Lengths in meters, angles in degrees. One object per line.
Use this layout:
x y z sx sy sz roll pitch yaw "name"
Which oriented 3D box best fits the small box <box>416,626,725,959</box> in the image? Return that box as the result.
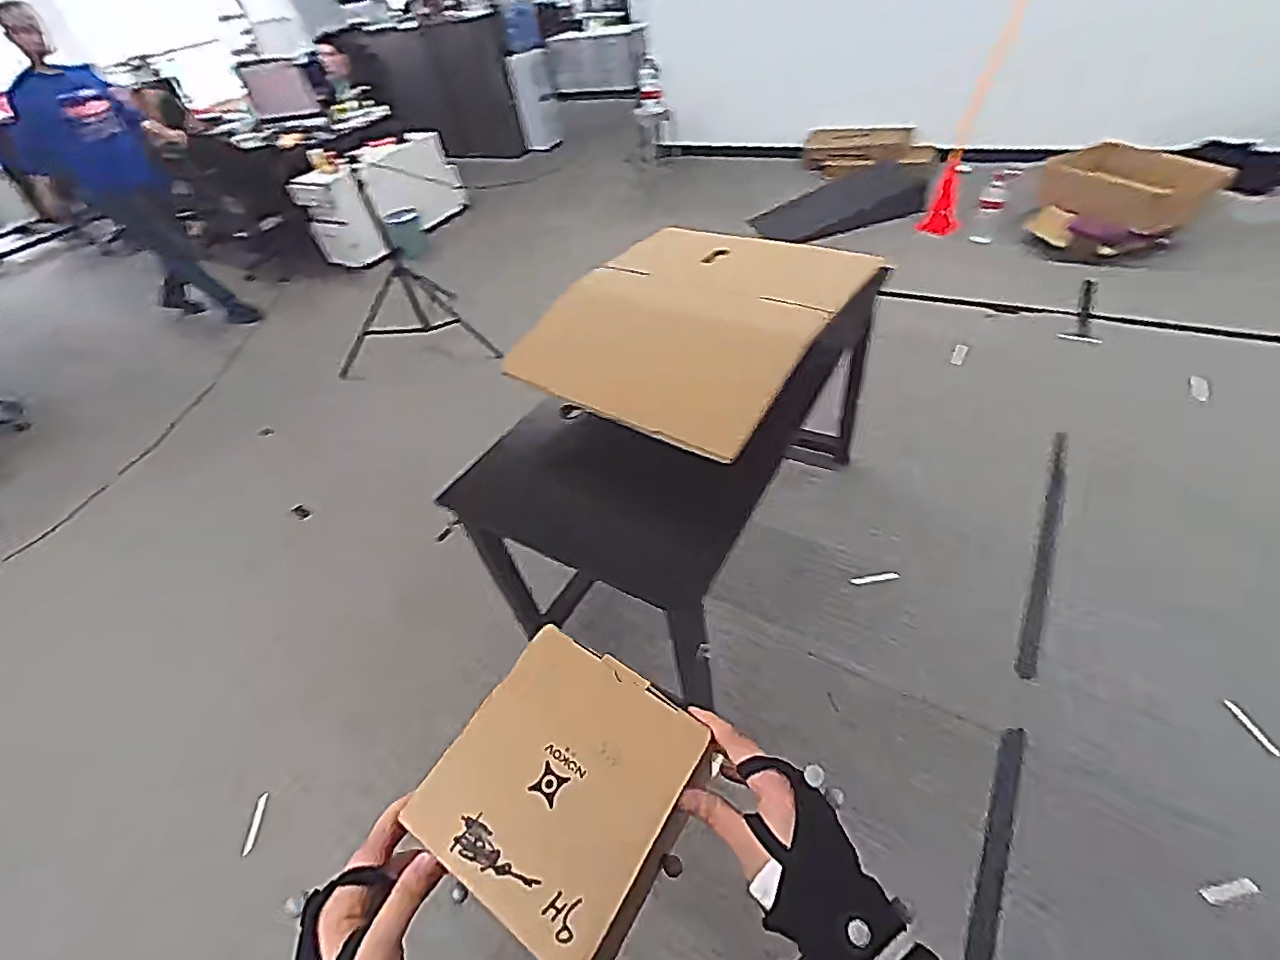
-0.044 0.265 0.461 0.168 0.176 0.179 26 60 25 "small box"
